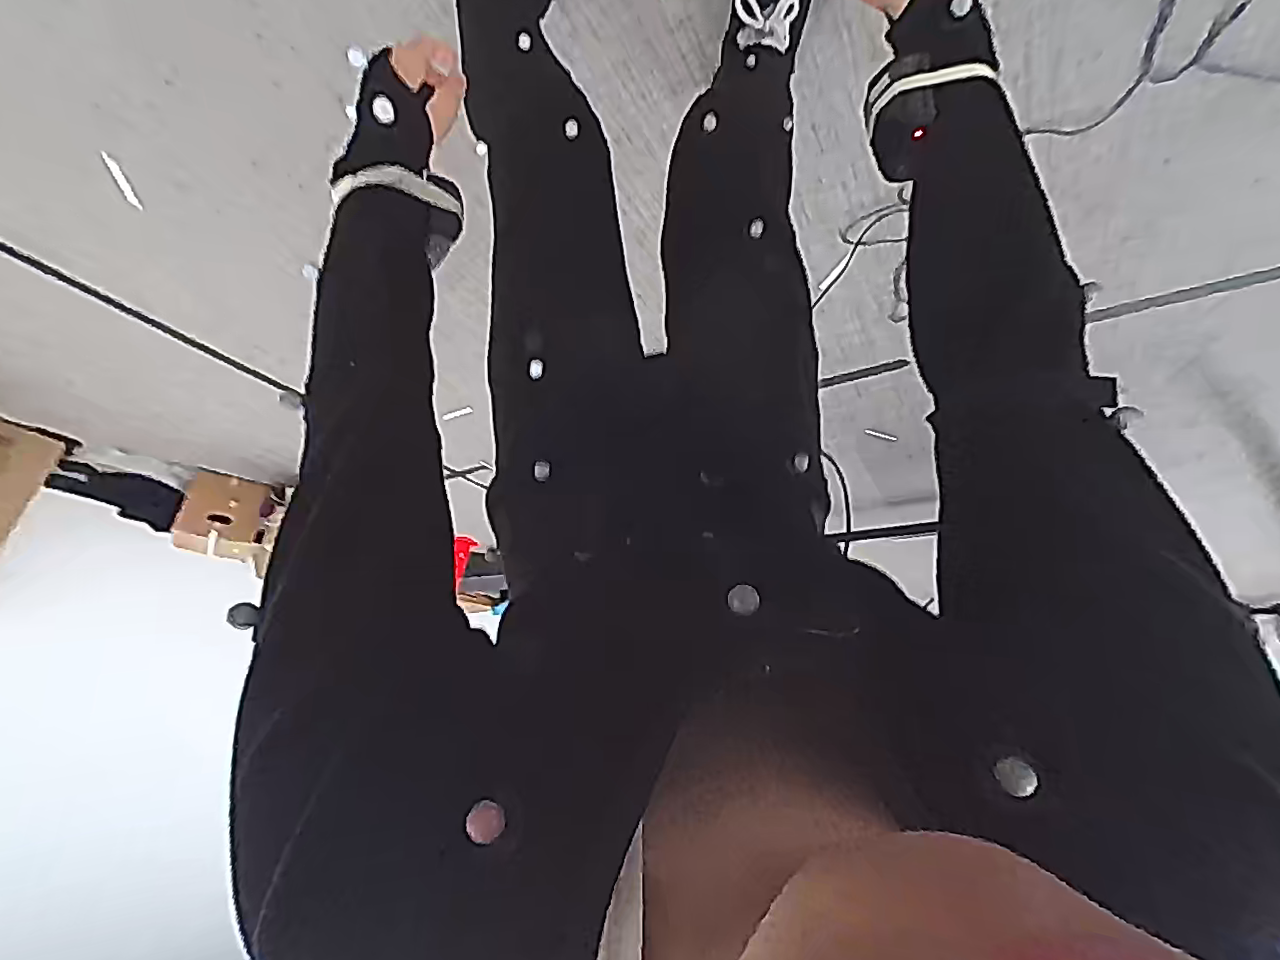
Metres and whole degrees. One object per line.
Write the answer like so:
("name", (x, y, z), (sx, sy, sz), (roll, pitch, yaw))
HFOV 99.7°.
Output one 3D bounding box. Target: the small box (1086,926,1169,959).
("small box", (1.314, 1.324, 1.440), (0.168, 0.176, 0.179), (-13, 152, 34))
